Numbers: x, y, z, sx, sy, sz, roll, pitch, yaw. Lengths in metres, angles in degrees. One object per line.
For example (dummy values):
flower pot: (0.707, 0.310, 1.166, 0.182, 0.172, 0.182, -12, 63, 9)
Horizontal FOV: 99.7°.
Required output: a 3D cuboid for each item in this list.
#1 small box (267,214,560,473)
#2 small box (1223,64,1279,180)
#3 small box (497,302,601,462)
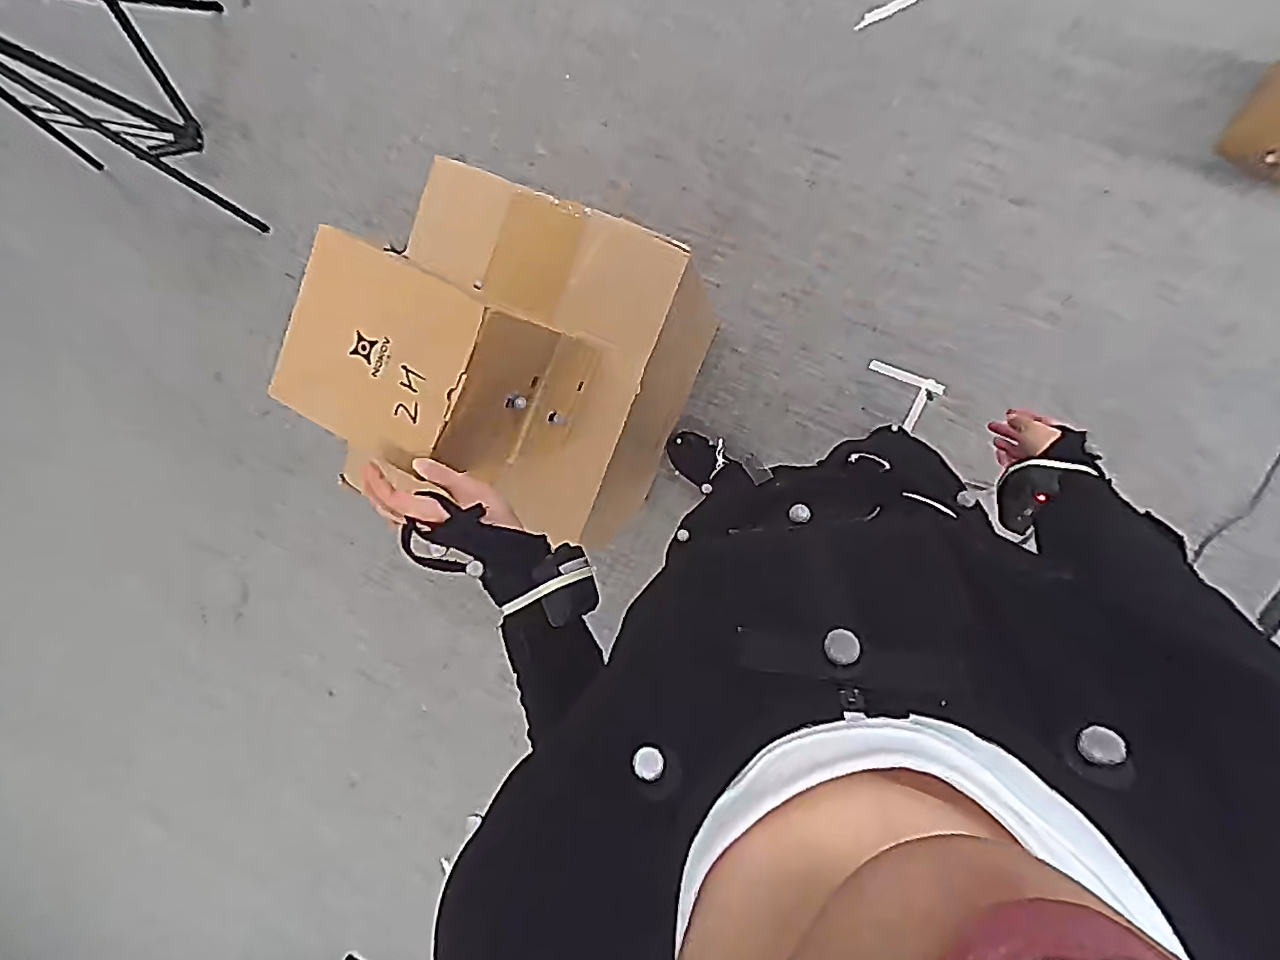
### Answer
small box: (-0.208, -0.124, 0.535, 0.179, 0.176, 0.168, 28, 103, 7)
small box: (1.245, -0.687, 0.976, 0.168, 0.176, 0.179, 33, 104, 7)
small box: (-0.170, -0.141, 0.695, 0.179, 0.176, 0.168, 26, 102, 7)
